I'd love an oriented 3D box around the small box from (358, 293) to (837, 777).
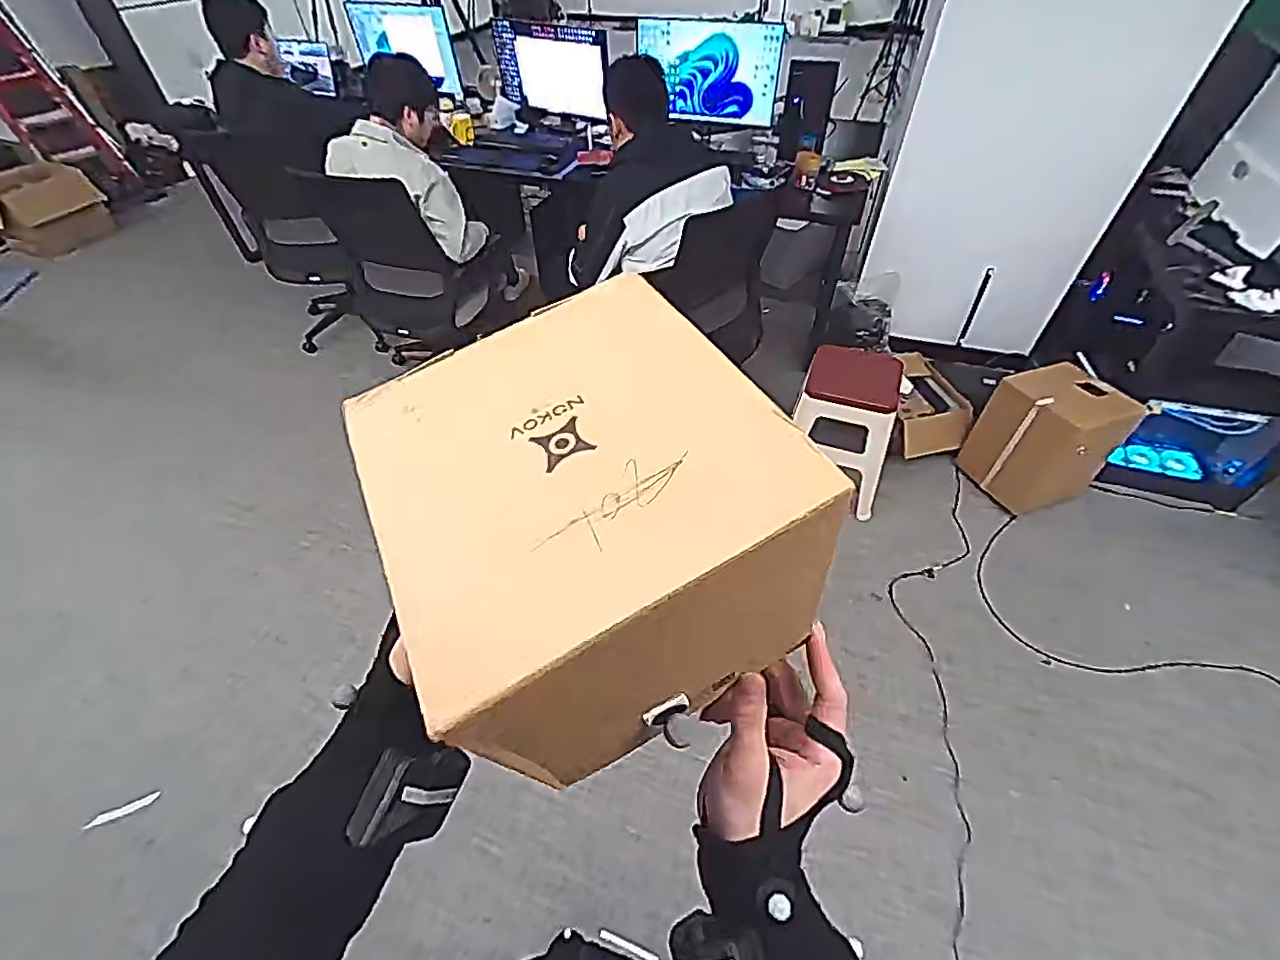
[{"bbox_3d":[-0.022,0.036,0.305,0.168,0.176,0.179,-30,55,-9],"label":"small box"}]
